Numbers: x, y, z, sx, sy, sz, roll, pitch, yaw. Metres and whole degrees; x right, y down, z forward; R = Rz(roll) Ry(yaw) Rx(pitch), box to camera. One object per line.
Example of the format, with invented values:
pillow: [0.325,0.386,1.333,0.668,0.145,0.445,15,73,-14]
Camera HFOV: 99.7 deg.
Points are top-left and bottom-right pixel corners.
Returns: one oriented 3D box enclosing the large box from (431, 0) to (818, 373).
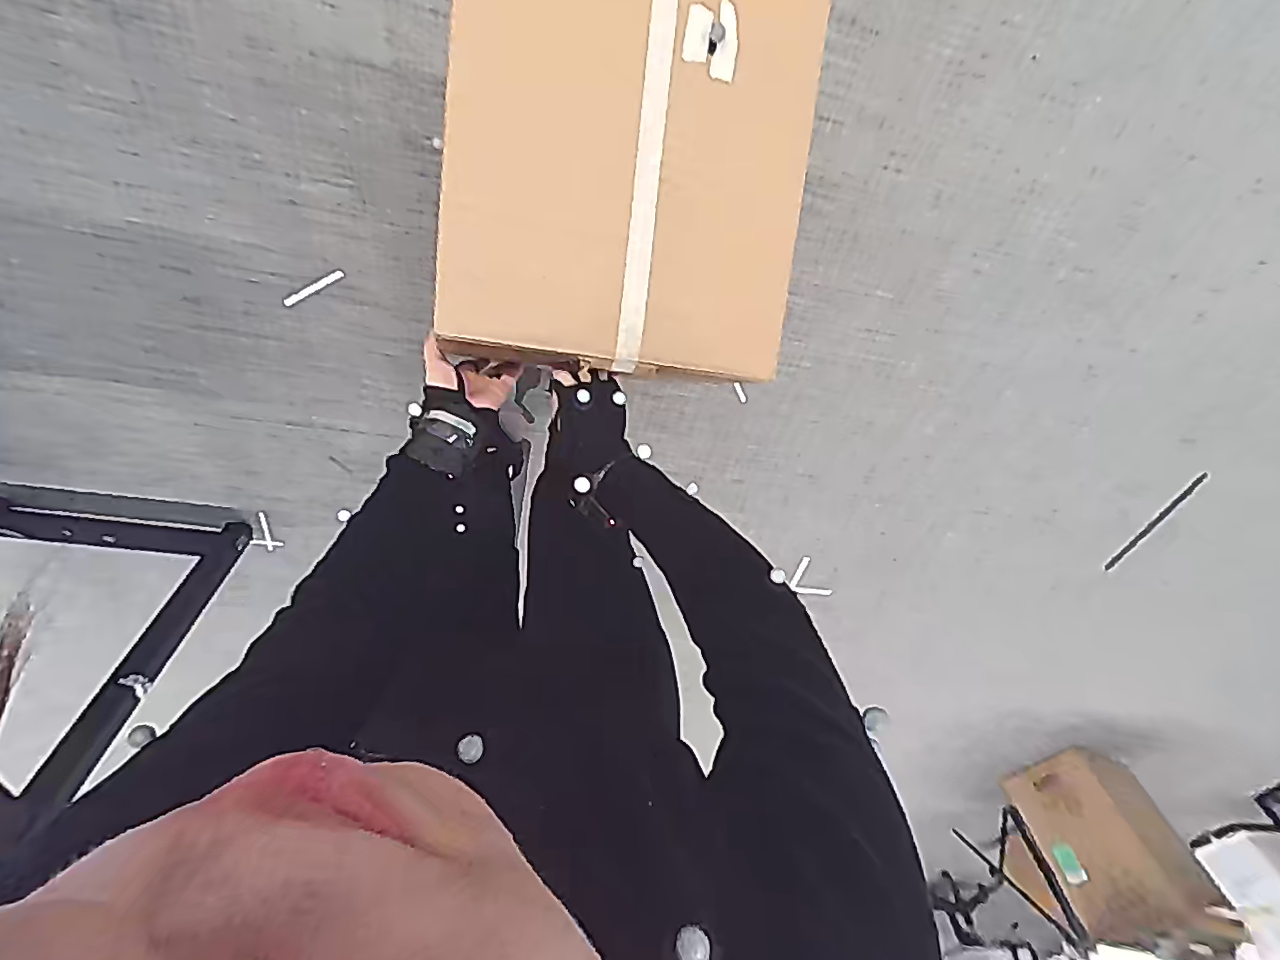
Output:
large box: [-0.046,-0.334,0.582,0.320,0.320,0.408,3,98,-20]
